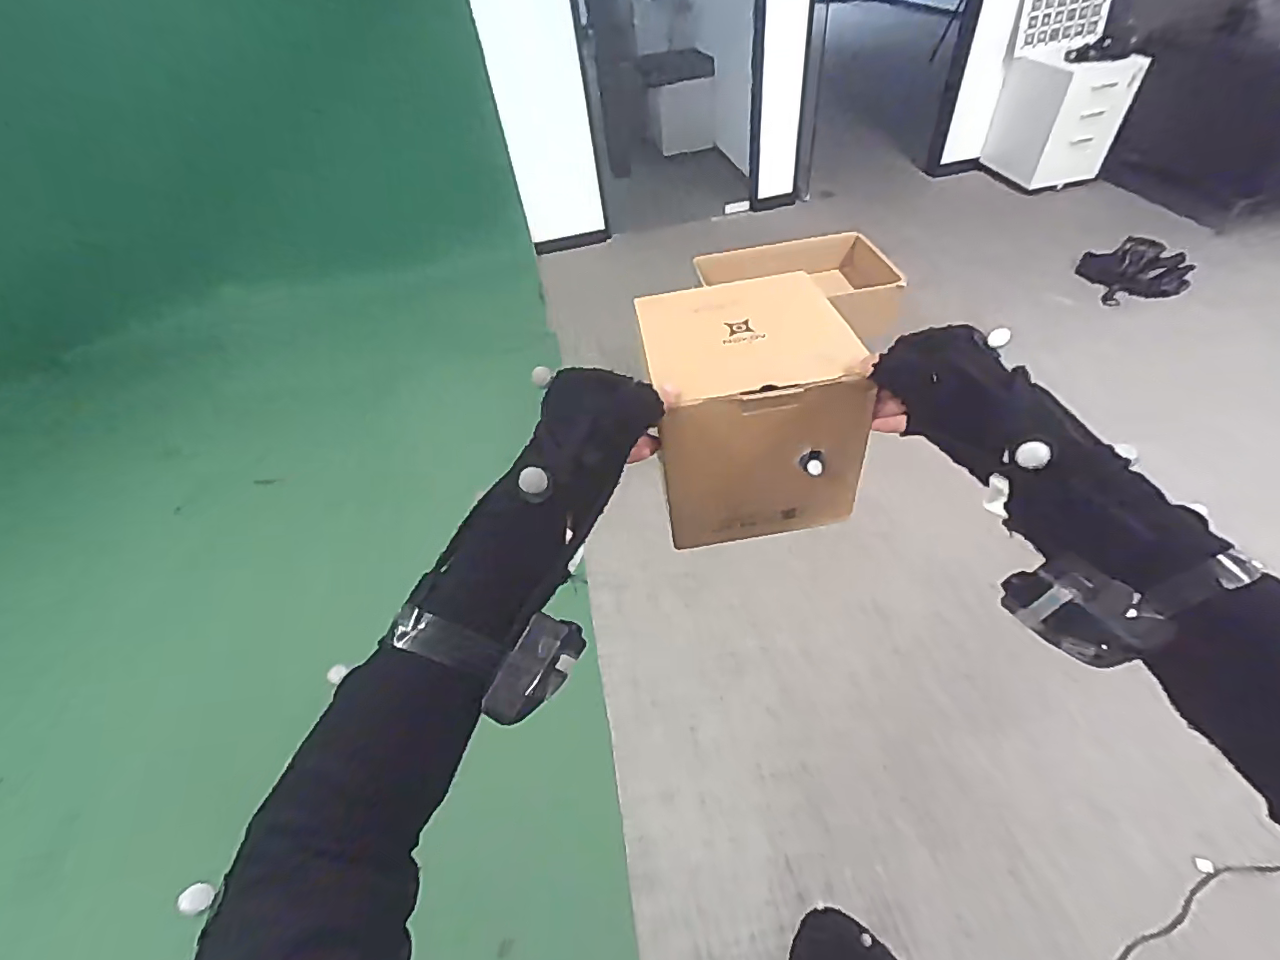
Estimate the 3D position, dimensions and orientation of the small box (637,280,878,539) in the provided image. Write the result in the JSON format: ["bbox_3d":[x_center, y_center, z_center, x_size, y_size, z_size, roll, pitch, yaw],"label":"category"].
[{"bbox_3d":[0.095,-0.061,0.503,0.168,0.176,0.179,-9,42,0],"label":"small box"}]
